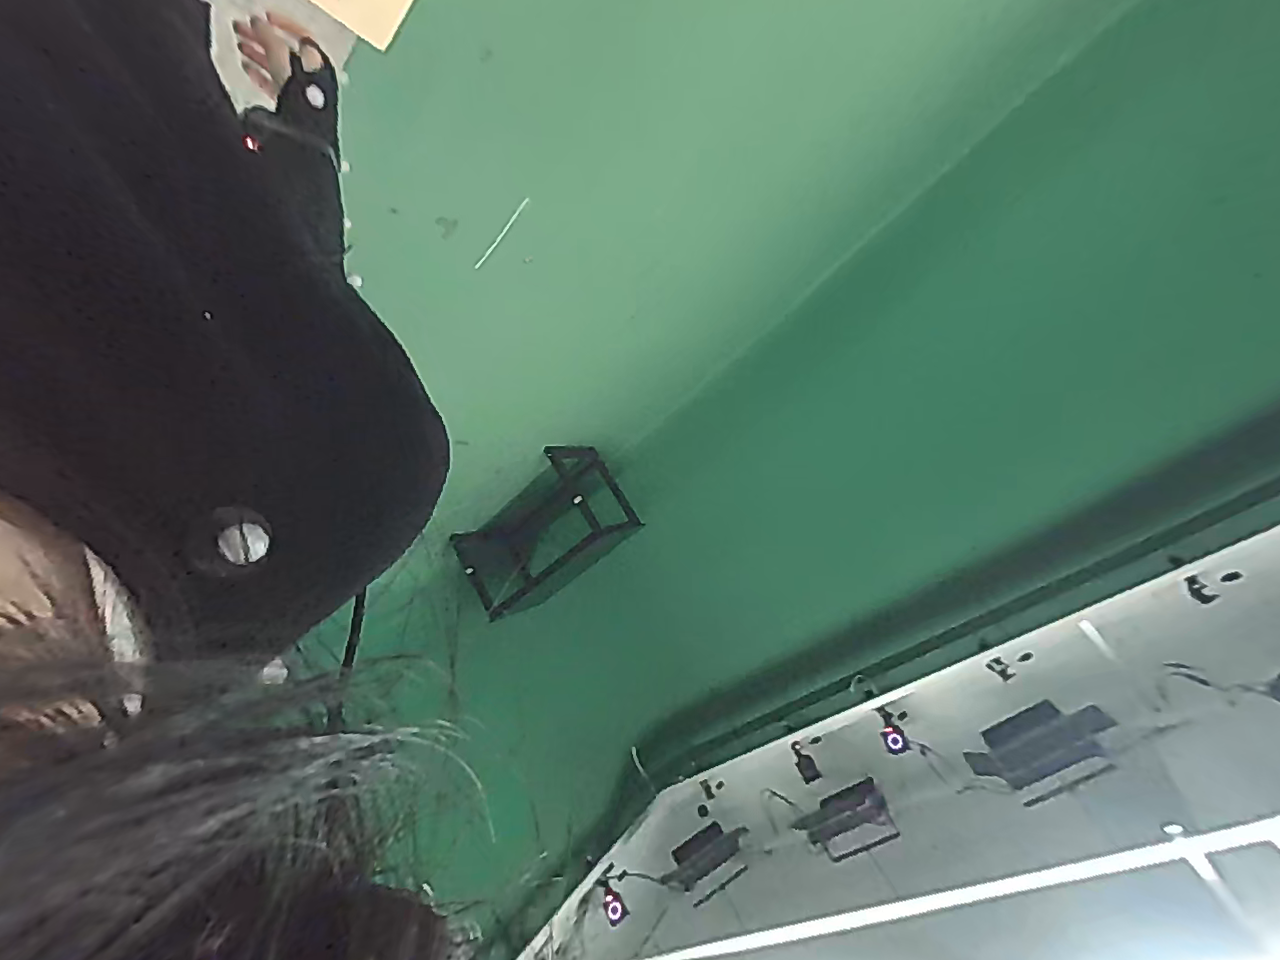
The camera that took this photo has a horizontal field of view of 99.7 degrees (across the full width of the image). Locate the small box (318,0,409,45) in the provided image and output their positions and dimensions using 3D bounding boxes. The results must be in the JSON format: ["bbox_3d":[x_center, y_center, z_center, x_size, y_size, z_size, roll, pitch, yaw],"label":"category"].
[{"bbox_3d":[-0.408,-0.761,0.722,0.179,0.176,0.168,-37,166,25],"label":"small box"}]
